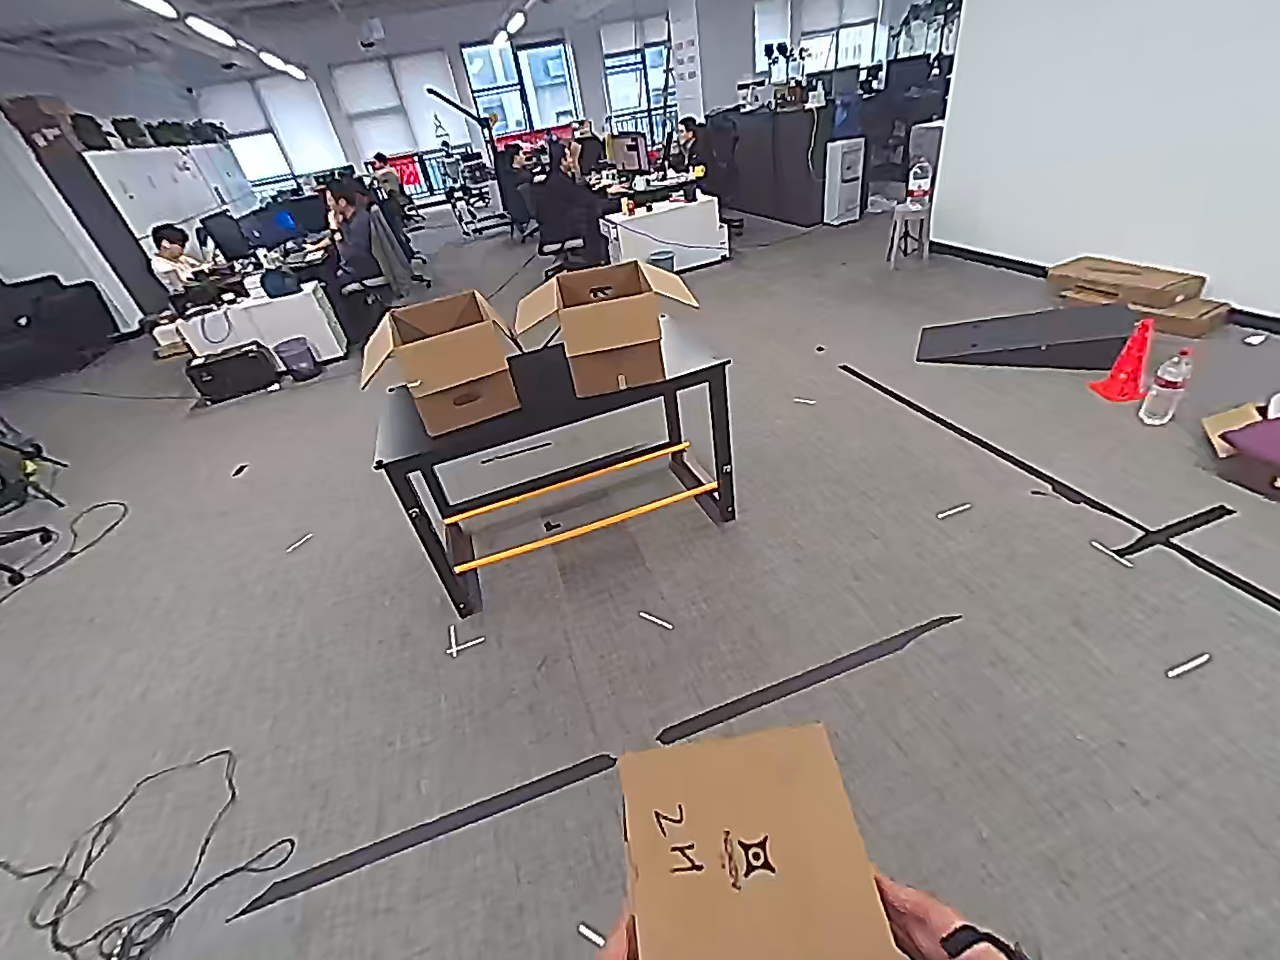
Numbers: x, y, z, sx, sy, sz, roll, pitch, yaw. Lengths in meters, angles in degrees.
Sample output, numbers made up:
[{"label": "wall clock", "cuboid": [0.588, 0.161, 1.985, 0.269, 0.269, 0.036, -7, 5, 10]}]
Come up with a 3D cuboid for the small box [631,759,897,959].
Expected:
[{"label": "small box", "cuboid": [0.092, 0.355, 0.458, 0.179, 0.176, 0.168, -9, 48, 1]}]
